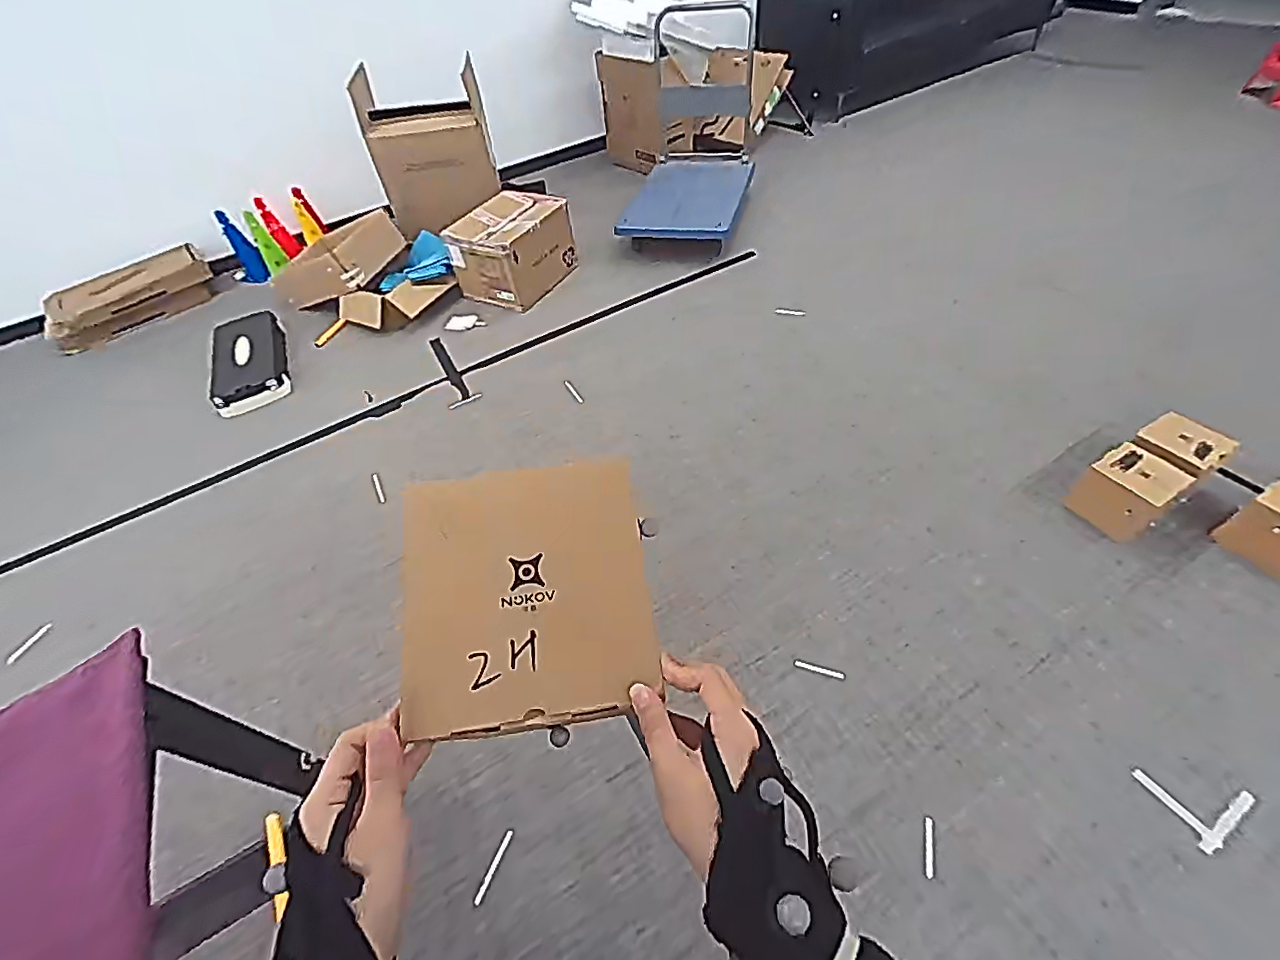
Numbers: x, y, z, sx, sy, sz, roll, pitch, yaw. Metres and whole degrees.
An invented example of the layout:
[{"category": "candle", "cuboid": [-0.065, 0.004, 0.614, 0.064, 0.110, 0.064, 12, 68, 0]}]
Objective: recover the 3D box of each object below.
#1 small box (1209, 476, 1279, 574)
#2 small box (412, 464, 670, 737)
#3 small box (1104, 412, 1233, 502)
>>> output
[{"category": "small box", "cuboid": [1.655, 0.119, 1.389, 0.168, 0.176, 0.179, -26, 50, -14]}, {"category": "small box", "cuboid": [-0.073, 0.108, 0.450, 0.168, 0.176, 0.179, -8, 65, -3]}, {"category": "small box", "cuboid": [1.514, -0.058, 1.561, 0.168, 0.176, 0.179, -27, 50, -15]}]
